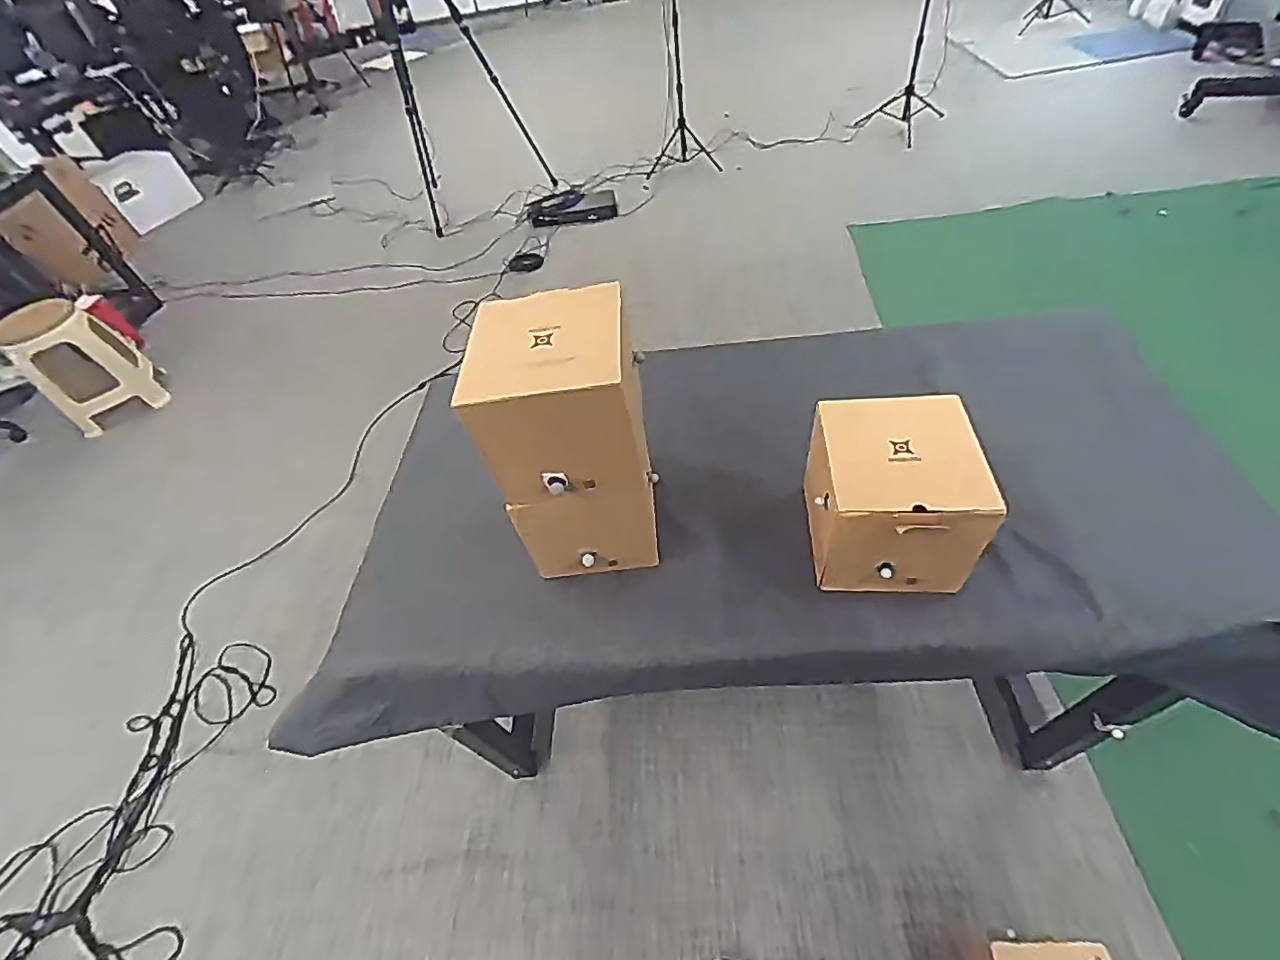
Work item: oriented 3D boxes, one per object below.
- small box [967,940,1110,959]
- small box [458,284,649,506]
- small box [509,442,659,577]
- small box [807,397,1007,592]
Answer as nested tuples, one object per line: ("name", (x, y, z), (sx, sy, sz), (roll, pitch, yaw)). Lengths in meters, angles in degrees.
("small box", (0.655, 0.851, 0.867), (0.179, 0.176, 0.168), (-5, 49, 6))
("small box", (-0.084, -0.094, 0.617), (0.168, 0.176, 0.179), (-7, 50, 5))
("small box", (-0.066, 0.010, 0.741), (0.168, 0.176, 0.179), (-7, 50, 4))
("small box", (0.307, 0.019, 0.670), (0.168, 0.176, 0.179), (-1, 50, 9))
